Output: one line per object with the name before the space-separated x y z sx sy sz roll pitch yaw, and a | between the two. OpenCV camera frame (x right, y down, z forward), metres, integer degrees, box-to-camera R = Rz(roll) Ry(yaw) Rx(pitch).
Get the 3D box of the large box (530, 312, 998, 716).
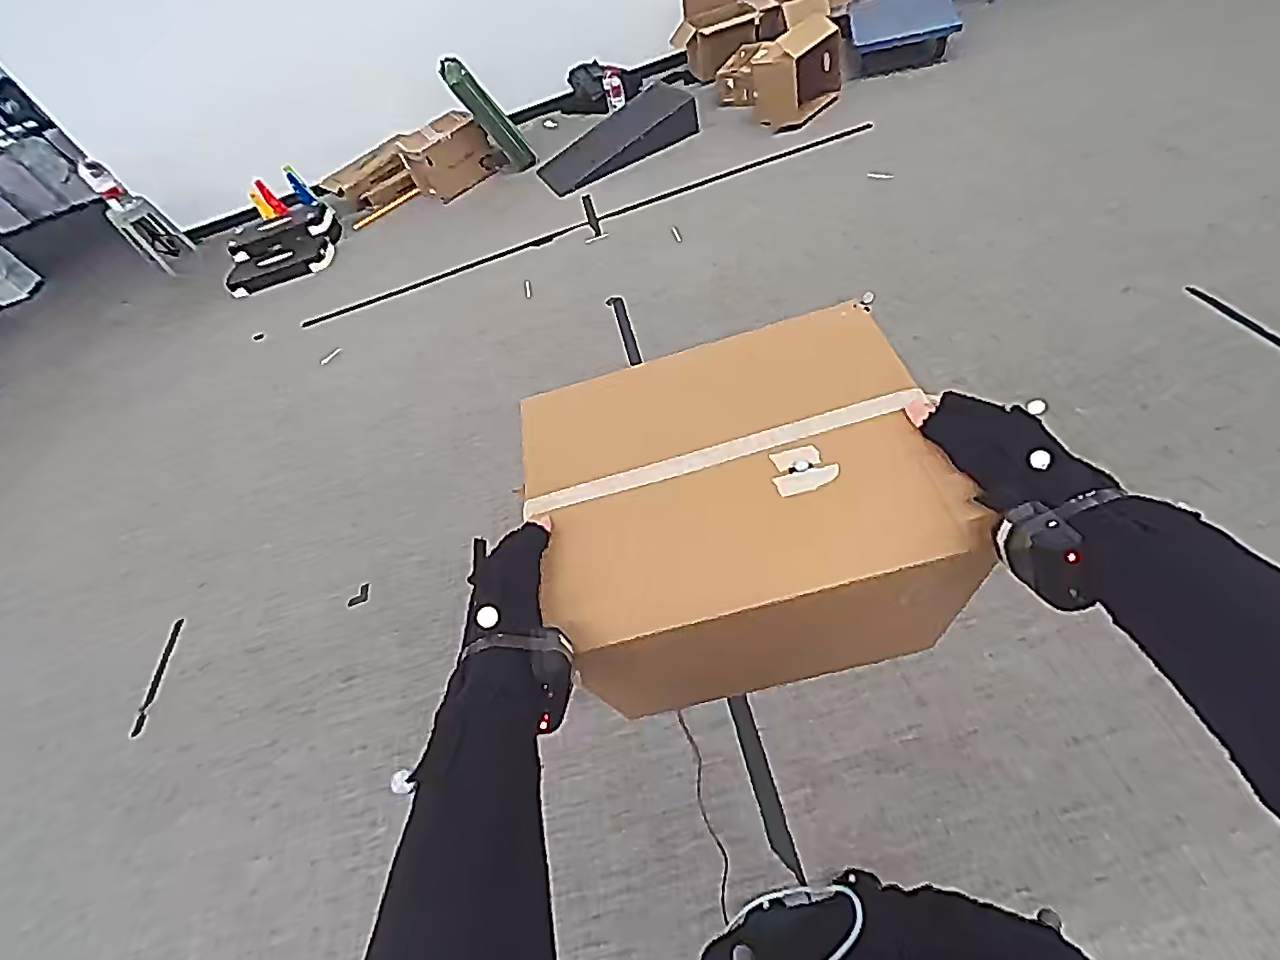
large box | 0.116 0.061 0.671 0.408 0.320 0.320 -16 56 4
